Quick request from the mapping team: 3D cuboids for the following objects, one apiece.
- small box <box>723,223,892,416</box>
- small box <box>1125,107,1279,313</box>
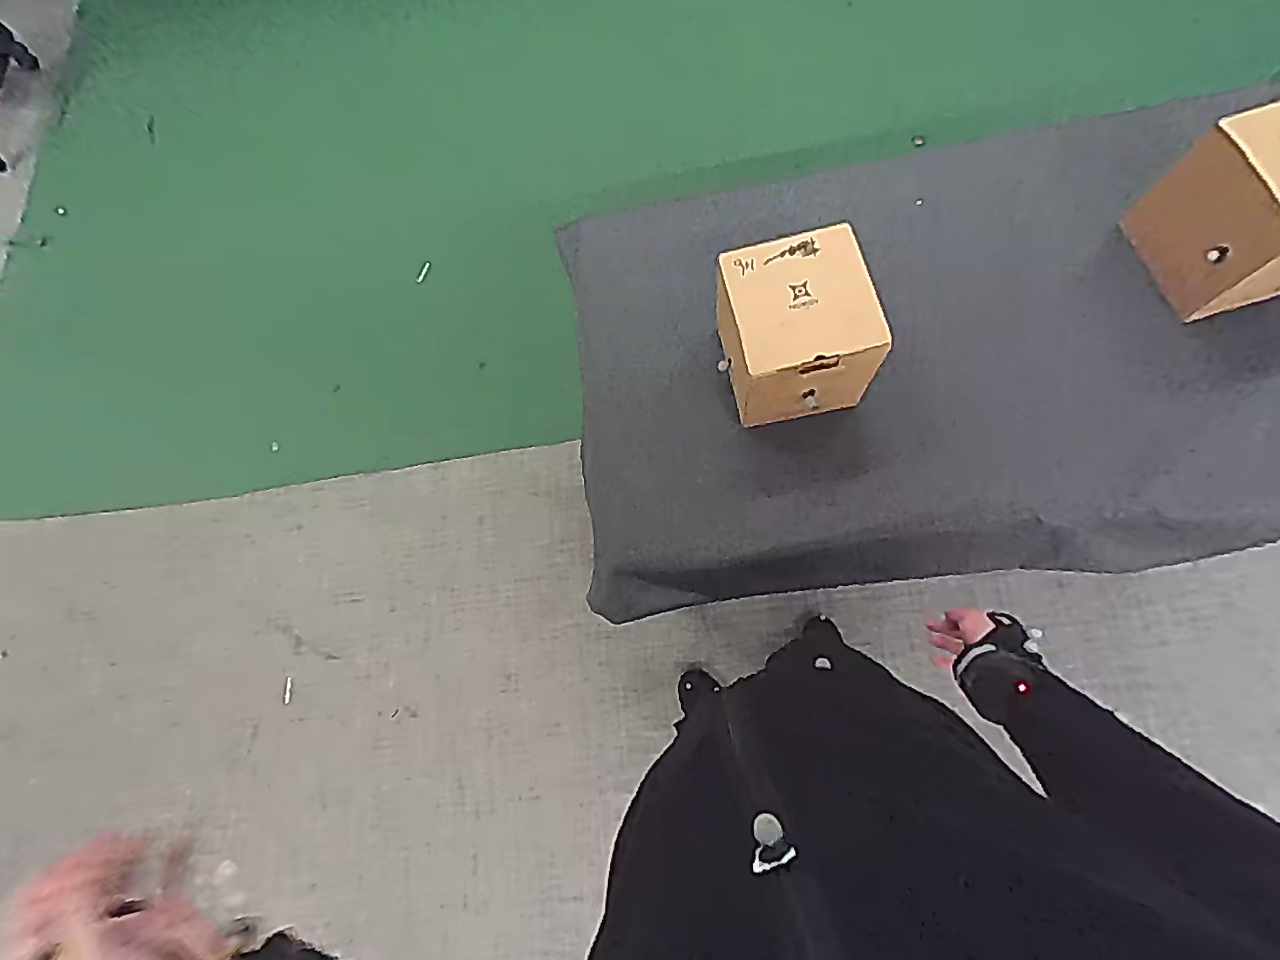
[{"bbox_3d":[0.208,-0.198,0.722,0.168,0.176,0.179,-11,73,5],"label":"small box"},{"bbox_3d":[0.781,-0.332,0.675,0.168,0.176,0.179,-16,71,3],"label":"small box"}]
